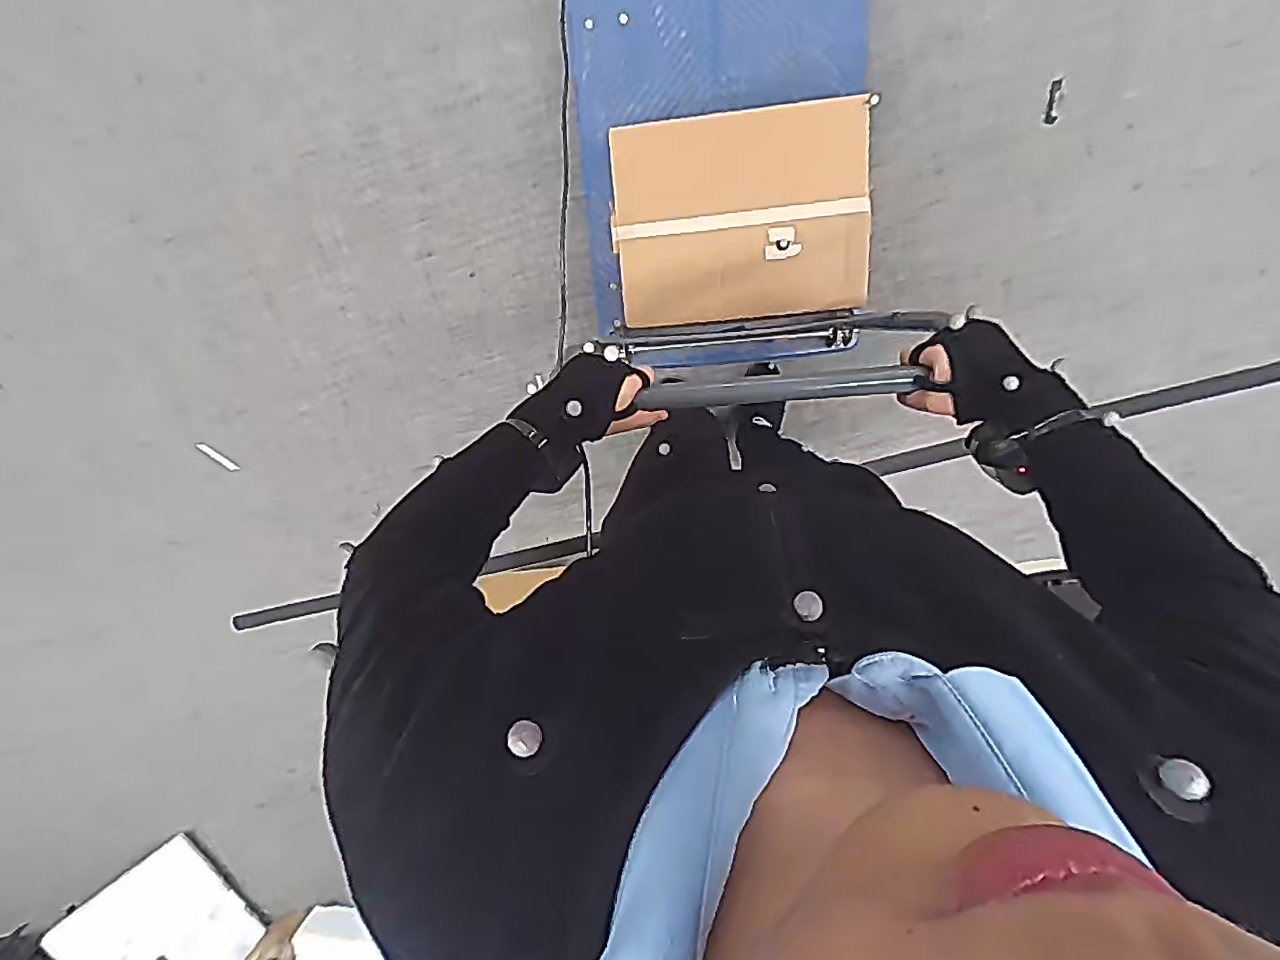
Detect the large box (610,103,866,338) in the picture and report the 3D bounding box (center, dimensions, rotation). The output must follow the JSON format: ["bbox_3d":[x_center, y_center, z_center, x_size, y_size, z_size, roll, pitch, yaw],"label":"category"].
[{"bbox_3d":[0.173,-0.448,1.023,0.408,0.320,0.320,-4,105,6],"label":"large box"}]
